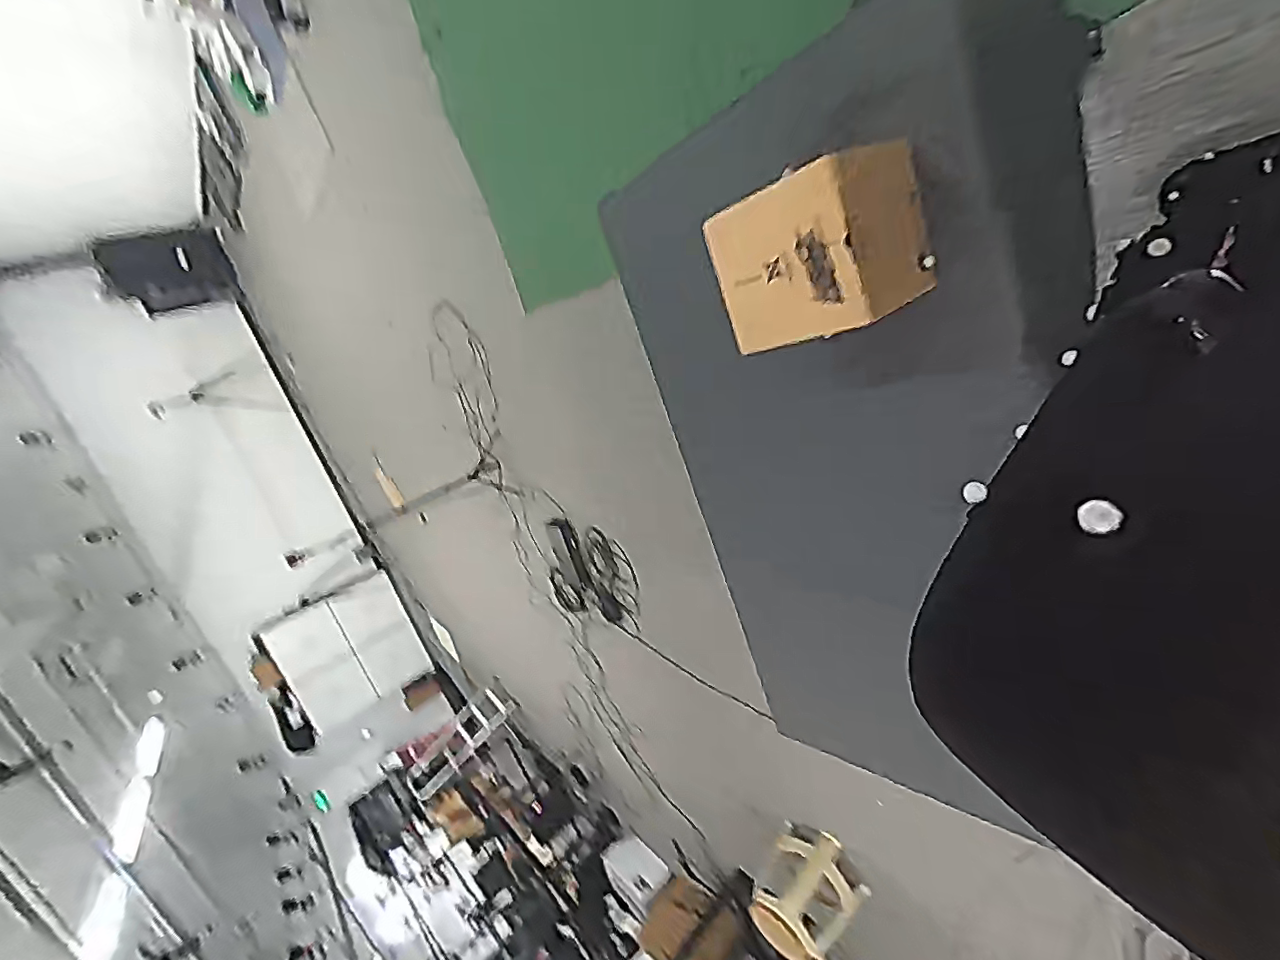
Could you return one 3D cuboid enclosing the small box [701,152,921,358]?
[{"bbox_3d":[0.210,-0.264,0.644,0.179,0.176,0.168,-1,115,53],"label":"small box"}]
